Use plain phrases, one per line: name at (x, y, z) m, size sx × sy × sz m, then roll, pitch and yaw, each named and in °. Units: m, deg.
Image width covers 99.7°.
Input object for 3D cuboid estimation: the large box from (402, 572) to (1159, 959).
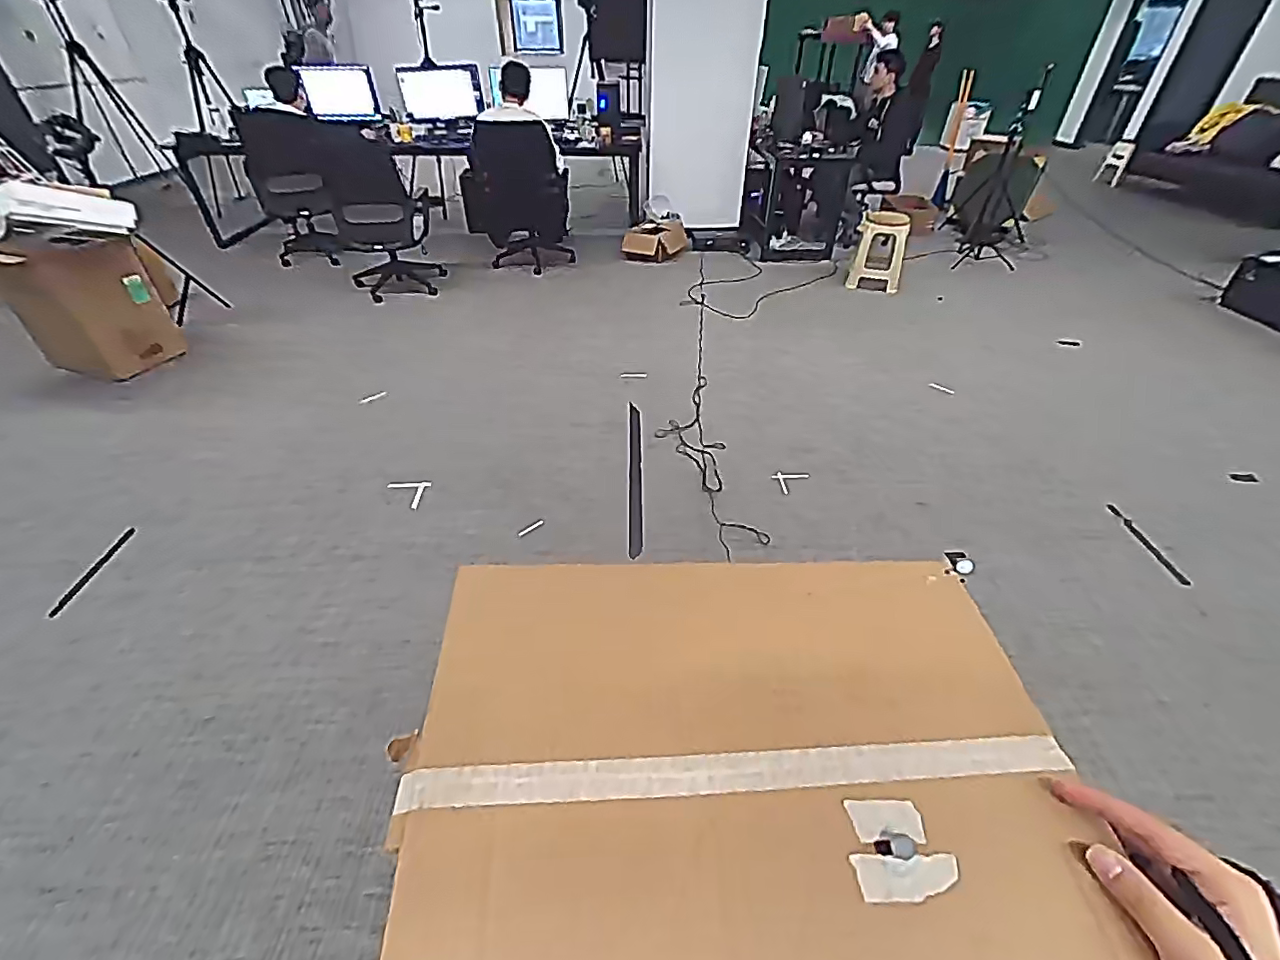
large box at (0.058, 0.293, 0.440) m, size 0.408 × 0.320 × 0.320 m, roll 1°, pitch 45°, yaw -7°
